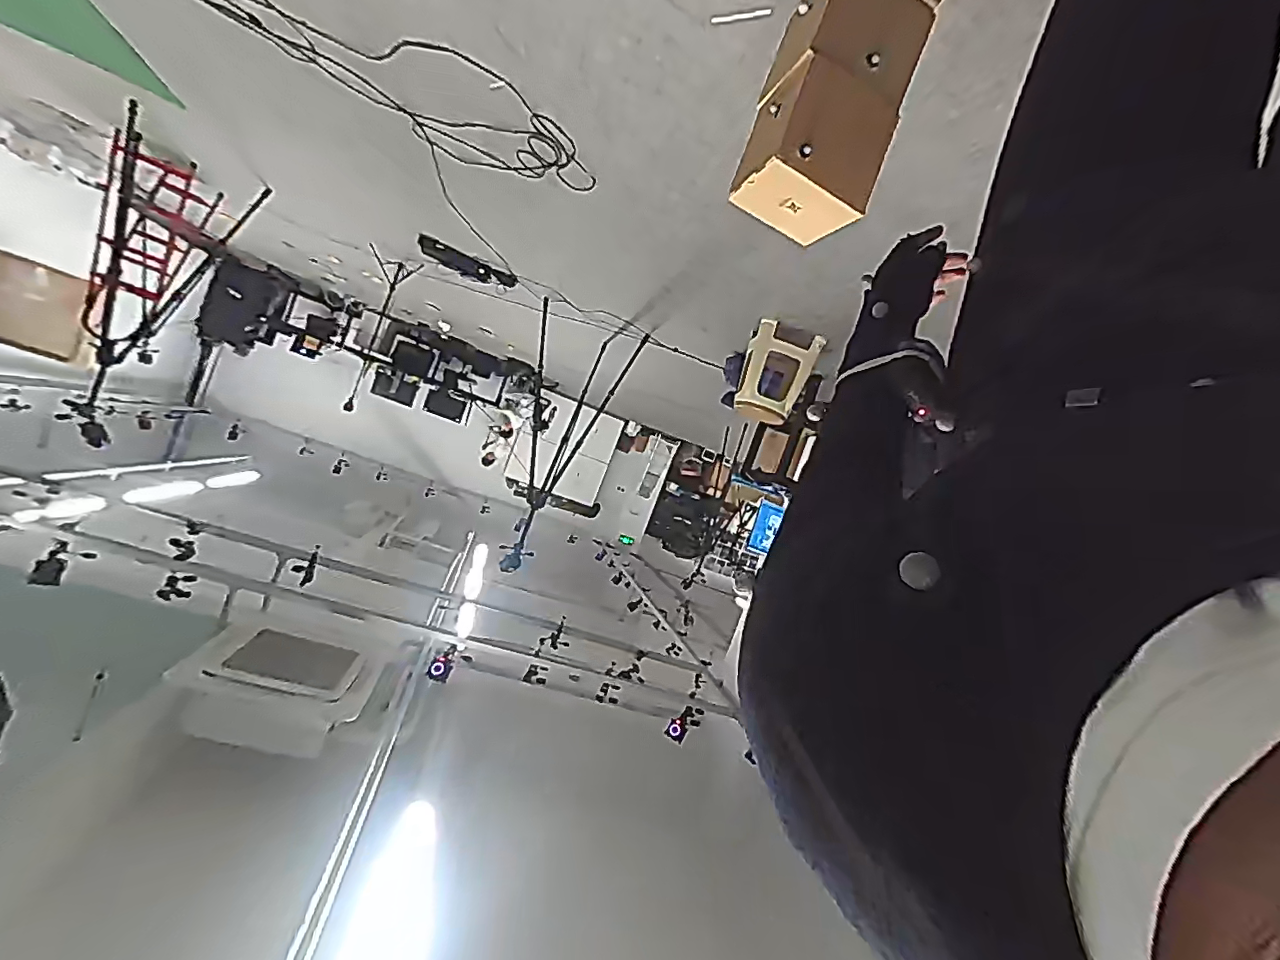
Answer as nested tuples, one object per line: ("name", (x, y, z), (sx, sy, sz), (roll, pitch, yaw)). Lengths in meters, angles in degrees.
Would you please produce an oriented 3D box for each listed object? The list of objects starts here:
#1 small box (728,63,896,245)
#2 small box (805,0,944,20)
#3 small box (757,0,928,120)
("small box", (0.282, -0.527, 0.894), (0.179, 0.176, 0.168), (22, 180, -18))
("small box", (0.393, -0.835, 0.885), (0.168, 0.176, 0.179), (21, 180, -18))
("small box", (0.332, -0.682, 0.891), (0.179, 0.176, 0.168), (22, 180, -19))
